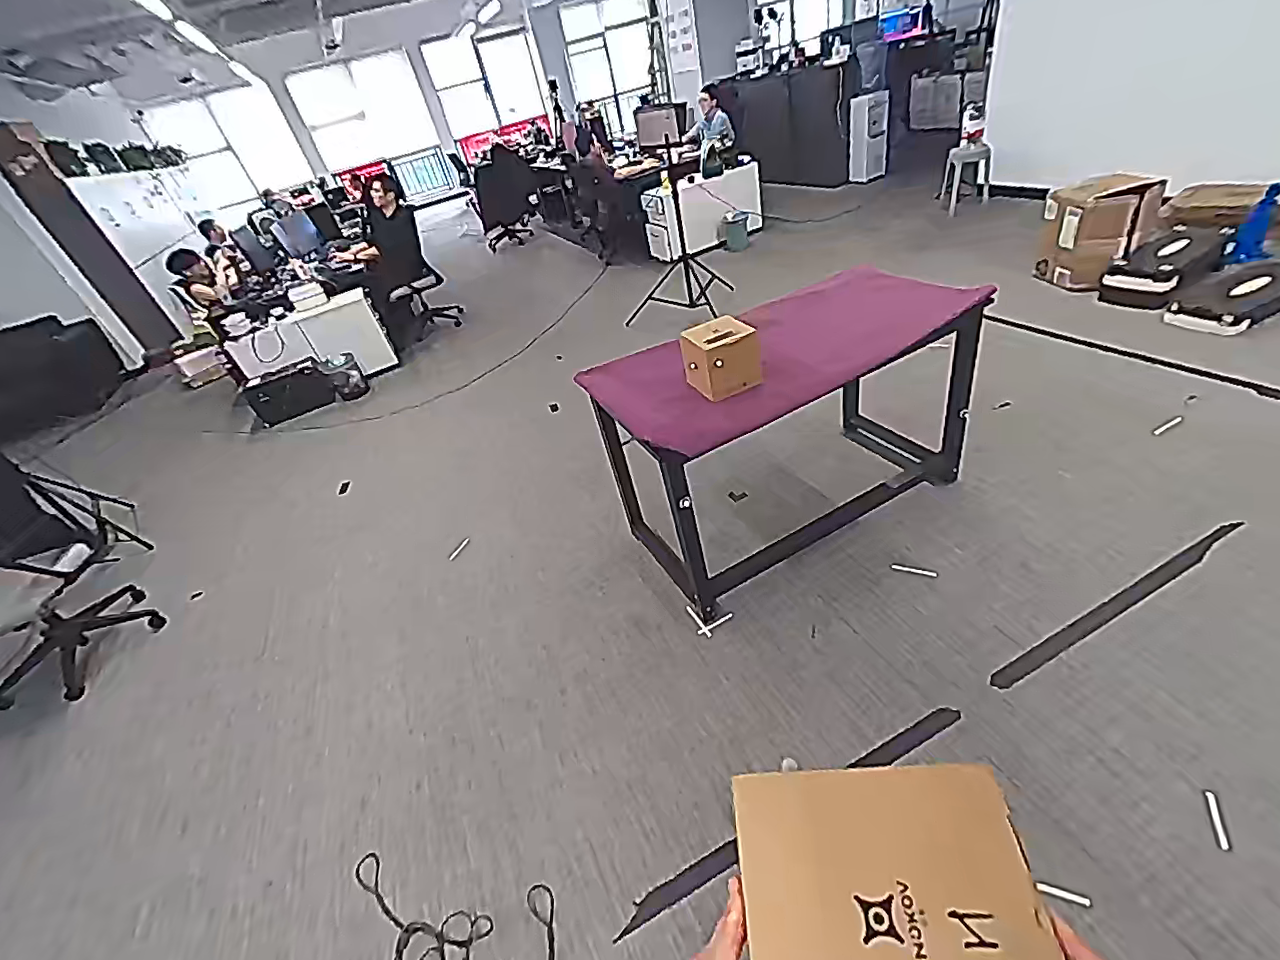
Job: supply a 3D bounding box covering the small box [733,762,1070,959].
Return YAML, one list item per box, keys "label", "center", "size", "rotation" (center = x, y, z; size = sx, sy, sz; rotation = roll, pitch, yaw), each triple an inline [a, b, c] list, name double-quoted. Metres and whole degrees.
- label: "small box"
  center: [0.165, 0.309, 0.379]
  size: [0.179, 0.176, 0.168]
  rotation: [-6, 50, 8]
